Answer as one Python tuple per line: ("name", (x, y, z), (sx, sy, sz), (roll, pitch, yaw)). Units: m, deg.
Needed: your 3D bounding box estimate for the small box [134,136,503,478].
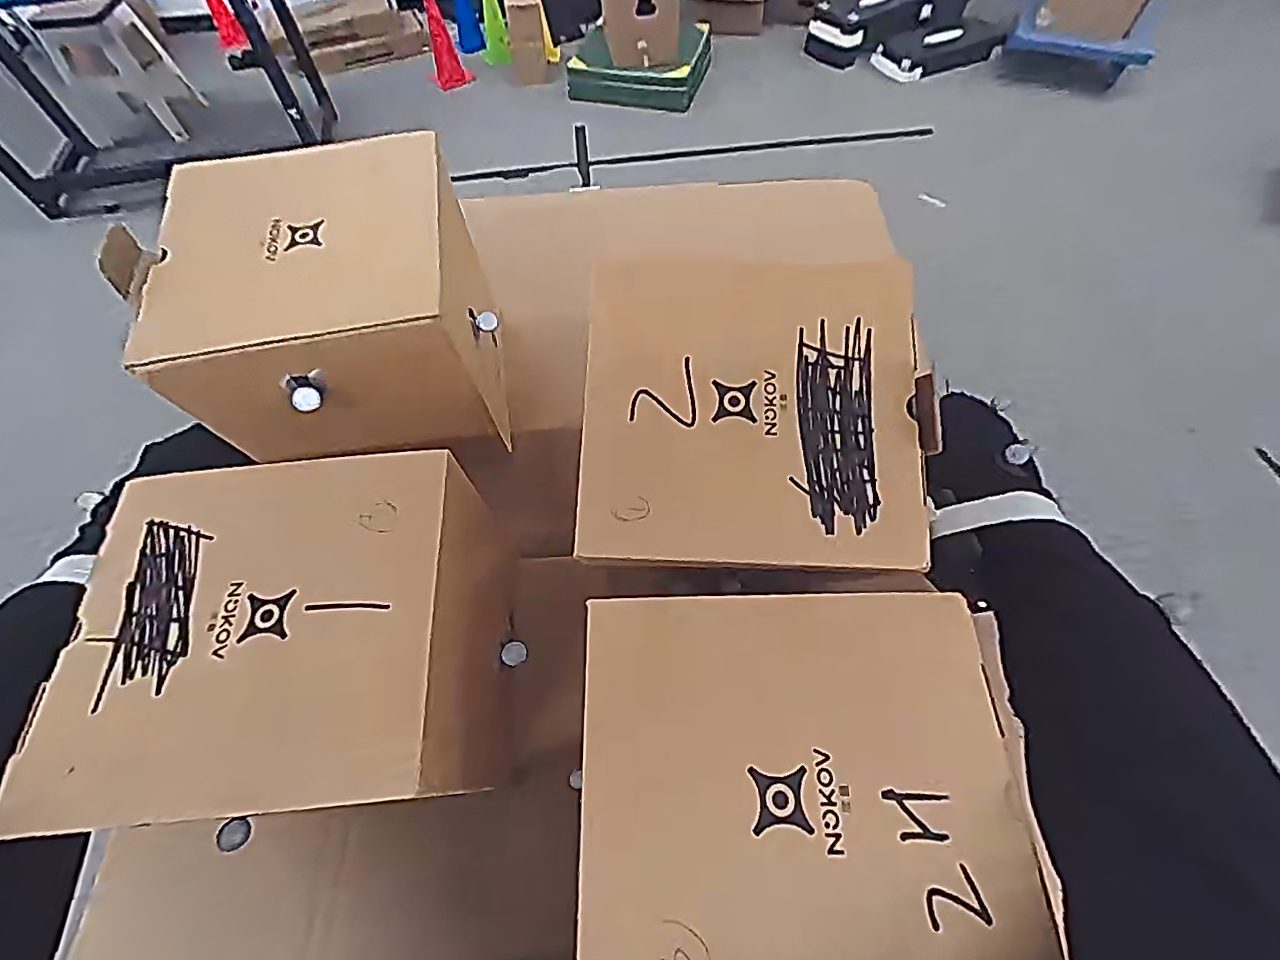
("small box", (-0.209, -0.117, 0.411), (0.179, 0.176, 0.168), (-10, 65, -2))
